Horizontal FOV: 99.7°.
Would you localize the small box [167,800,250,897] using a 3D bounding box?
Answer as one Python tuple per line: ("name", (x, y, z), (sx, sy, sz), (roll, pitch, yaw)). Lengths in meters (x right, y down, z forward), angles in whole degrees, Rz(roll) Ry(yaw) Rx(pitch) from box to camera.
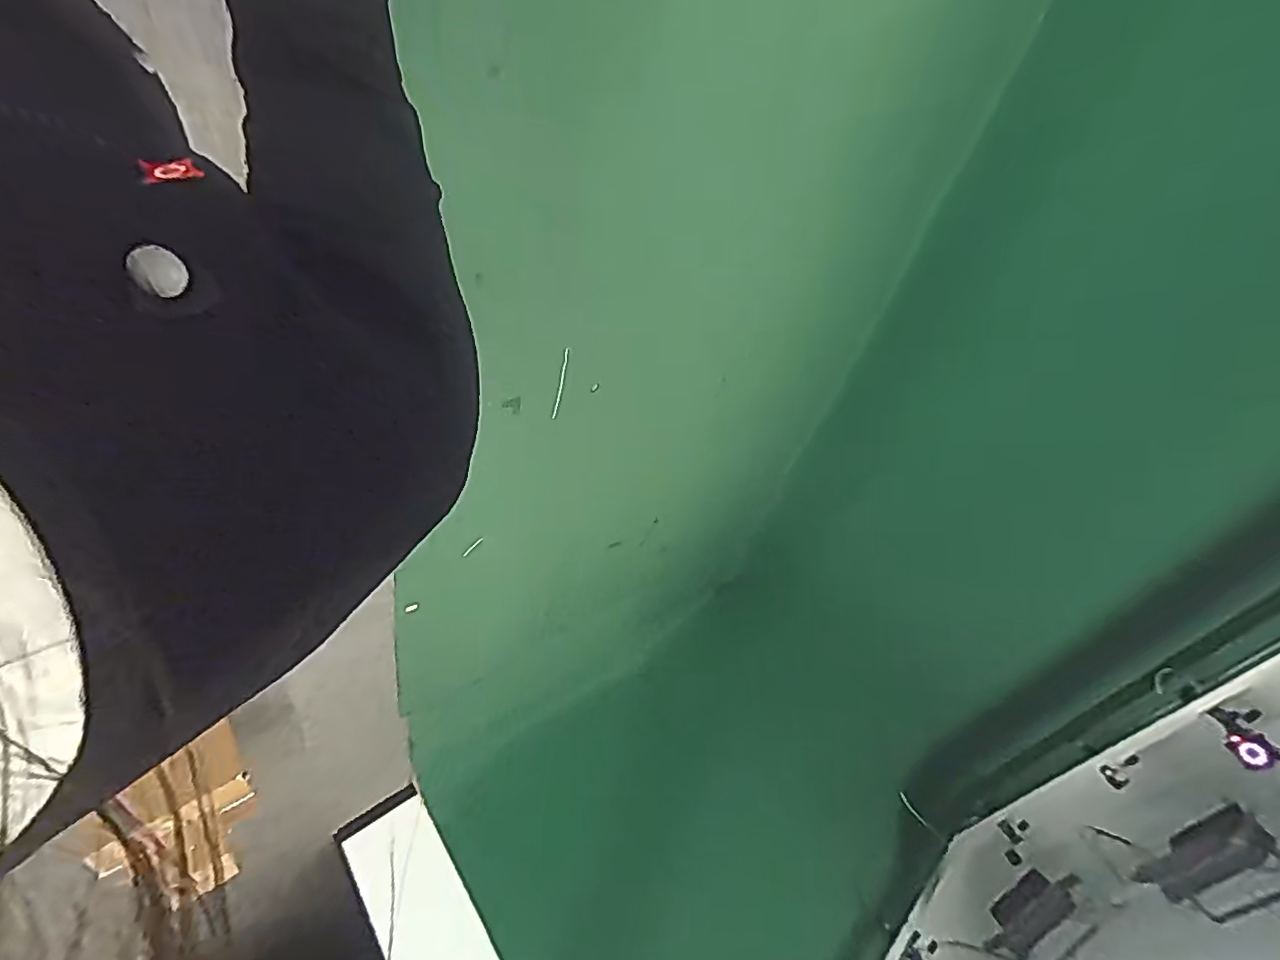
("small box", (-1.430, 1.213, 1.788), (0.179, 0.176, 0.168), (-21, 136, -37))
